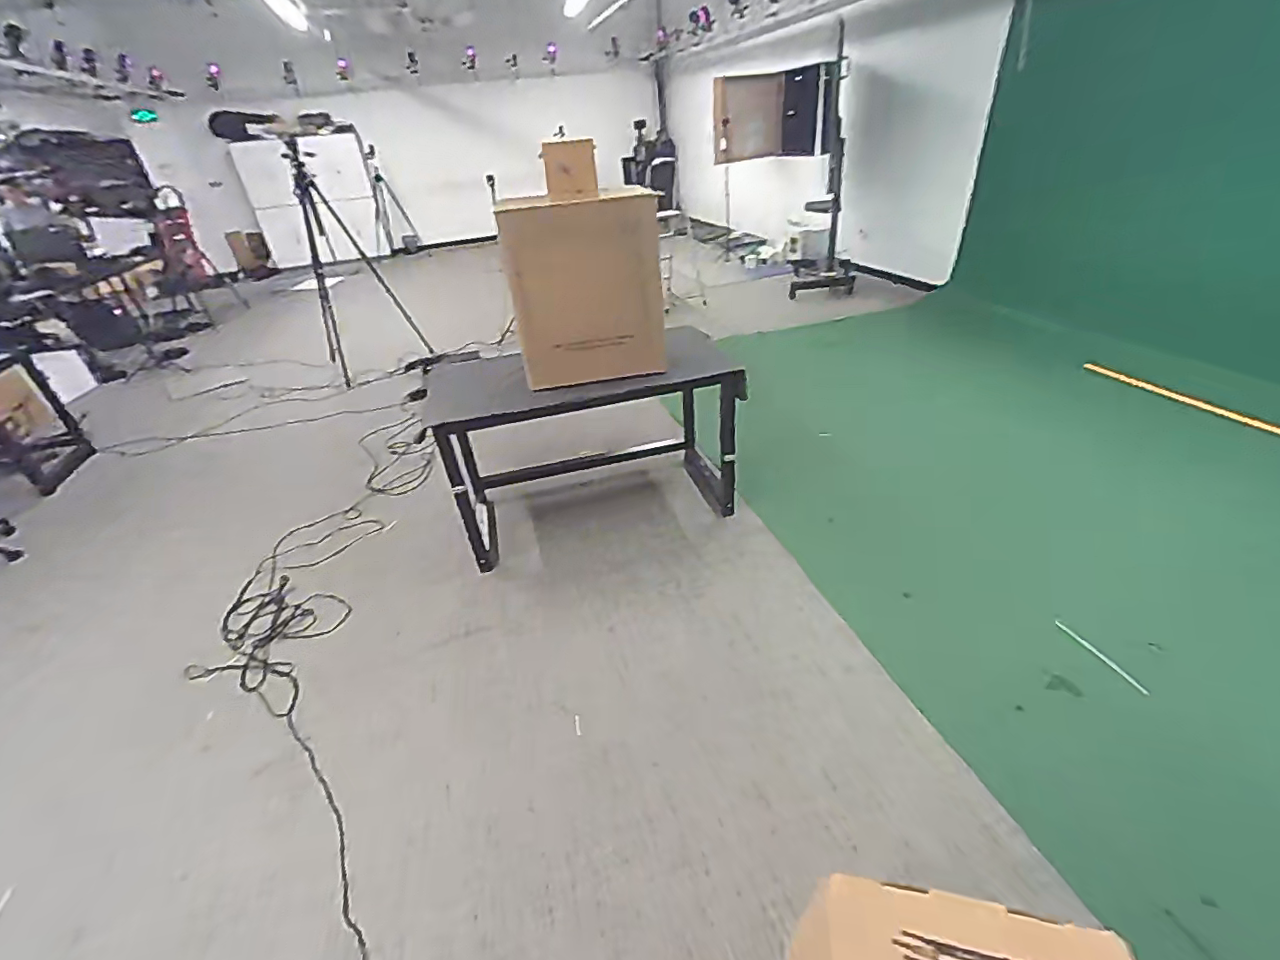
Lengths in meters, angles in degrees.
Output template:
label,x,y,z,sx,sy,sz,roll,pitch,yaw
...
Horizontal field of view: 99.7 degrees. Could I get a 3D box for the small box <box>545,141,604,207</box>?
label,x,y,z,sx,sy,sz,roll,pitch,yaw
small box,-0.213,-1.009,1.786,0.168,0.176,0.179,-7,34,-3
